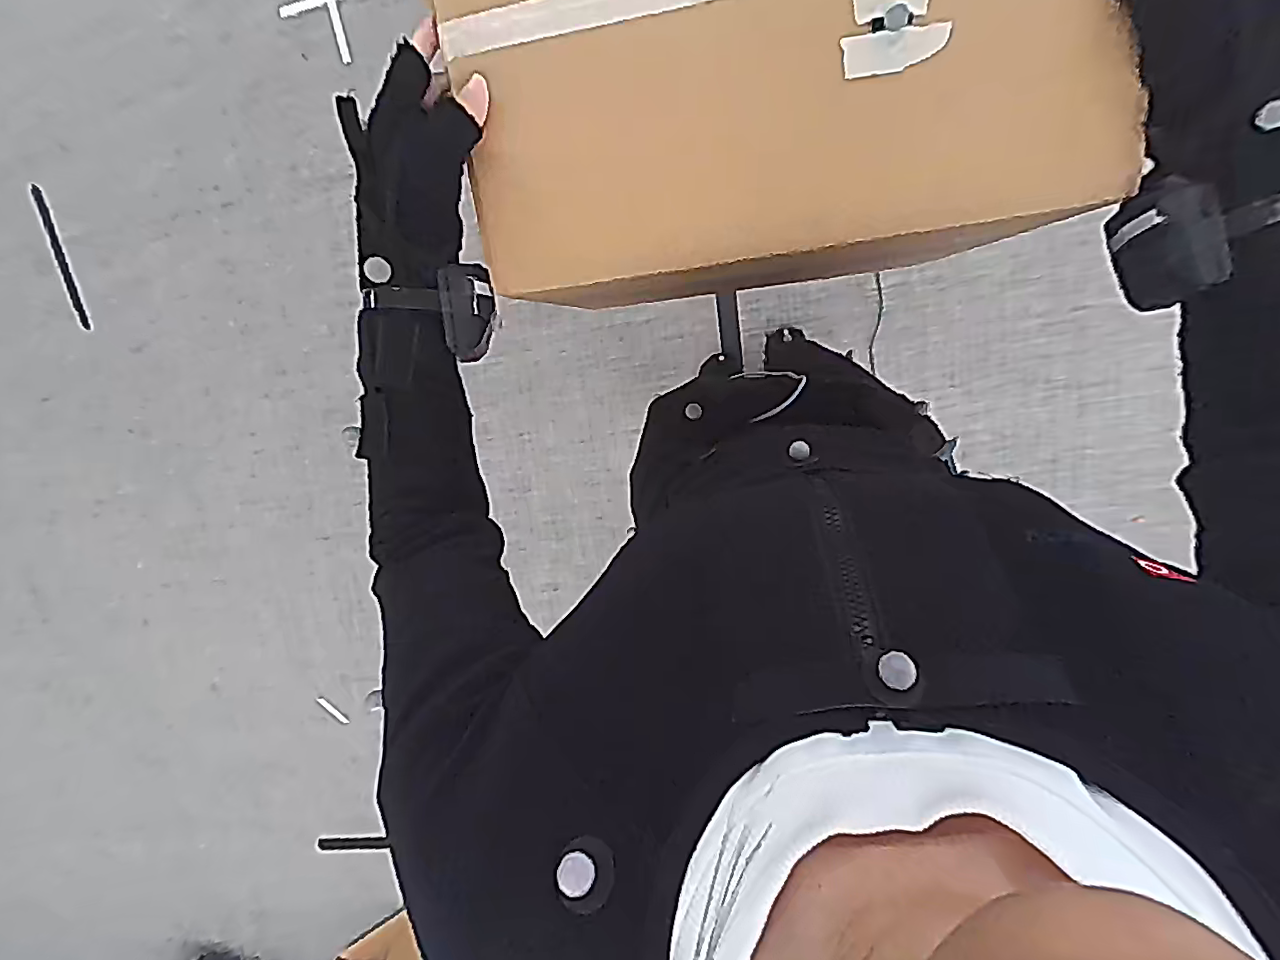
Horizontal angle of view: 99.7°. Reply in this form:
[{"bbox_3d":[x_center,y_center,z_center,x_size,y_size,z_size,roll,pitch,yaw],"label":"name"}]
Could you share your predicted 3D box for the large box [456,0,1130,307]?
[{"bbox_3d":[0.094,-0.346,0.469,0.408,0.320,0.320,-6,105,8],"label":"large box"}]
